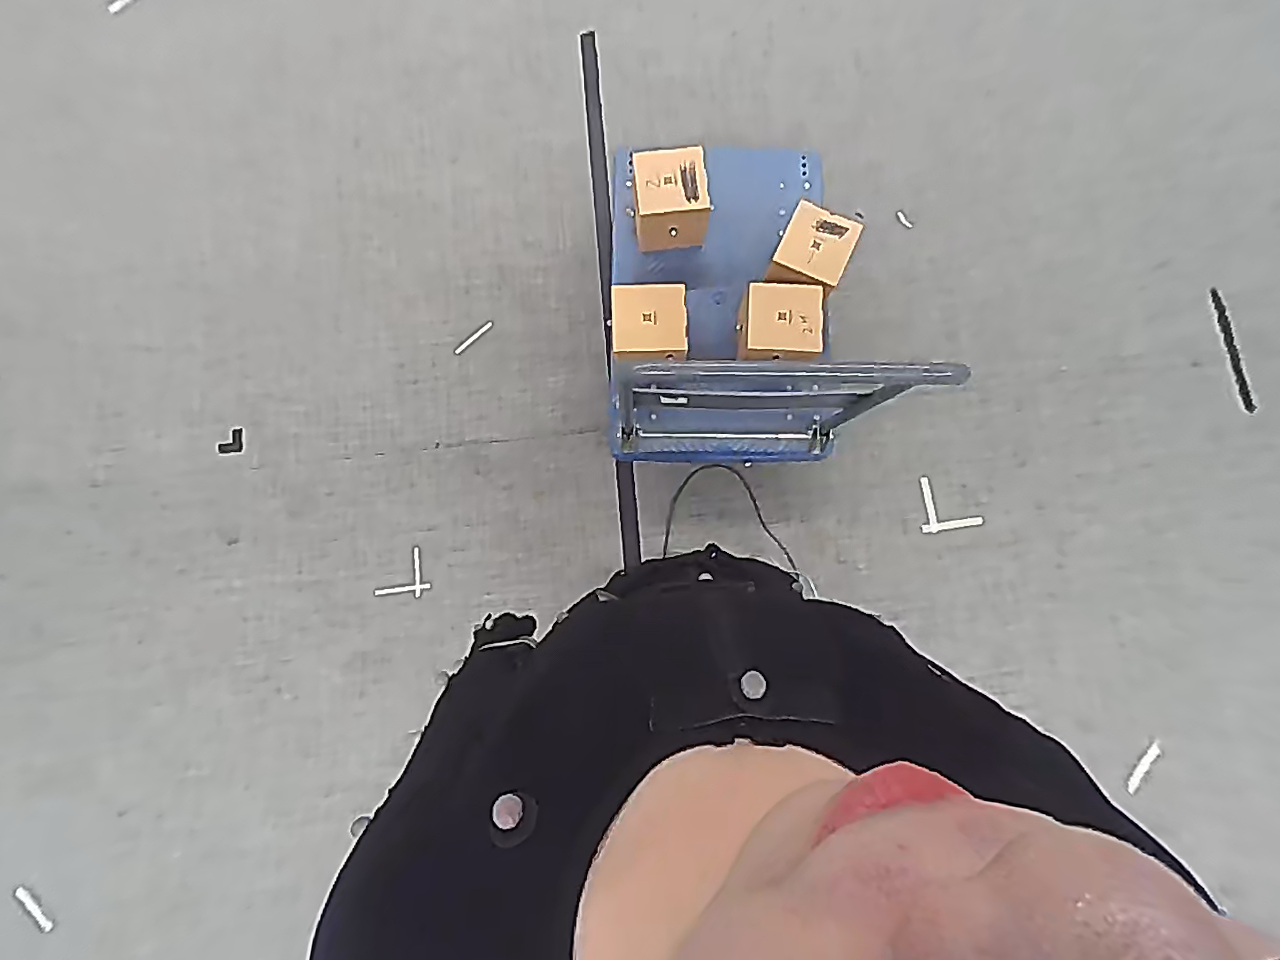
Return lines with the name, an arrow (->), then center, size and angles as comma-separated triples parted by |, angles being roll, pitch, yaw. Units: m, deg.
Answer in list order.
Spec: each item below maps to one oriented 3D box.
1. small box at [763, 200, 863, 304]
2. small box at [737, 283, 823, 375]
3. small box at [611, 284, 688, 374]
small box -> 0.425, -0.552, 1.362 | 0.168, 0.176, 0.179 | 25, 84, 4
small box -> 0.339, -0.367, 1.336 | 0.179, 0.176, 0.168 | 3, 82, 1
small box -> 0.022, -0.368, 1.340 | 0.179, 0.176, 0.168 | -2, 82, -1
